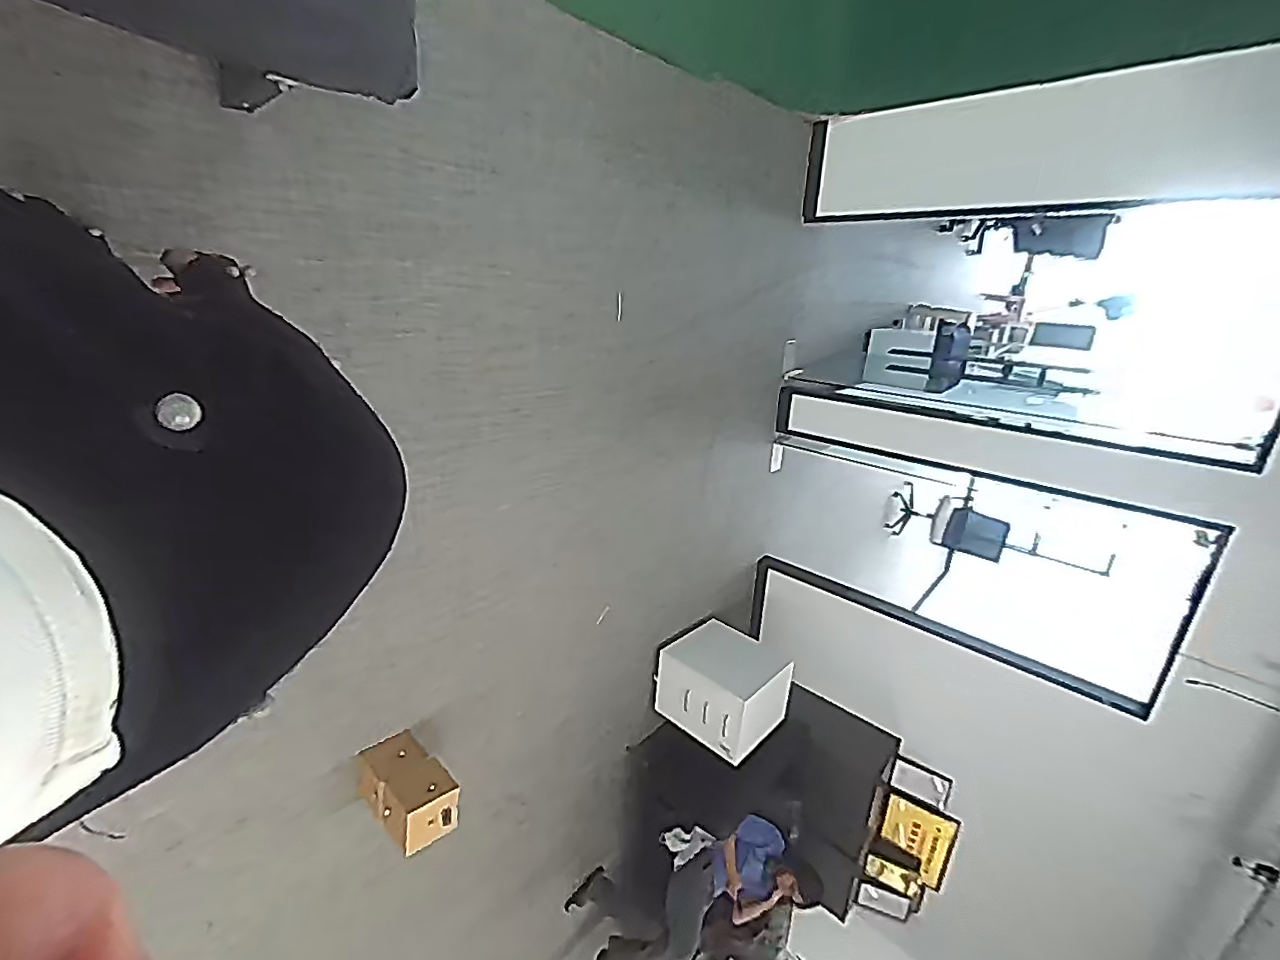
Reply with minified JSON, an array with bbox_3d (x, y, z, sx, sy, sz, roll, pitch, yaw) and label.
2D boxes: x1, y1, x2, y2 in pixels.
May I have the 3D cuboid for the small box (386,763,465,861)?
[{"bbox_3d":[-0.690,1.054,1.736,0.179,0.176,0.168,-8,111,-48],"label":"small box"}]

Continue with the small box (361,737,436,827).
[{"bbox_3d":[-0.818,1.011,1.831,0.179,0.176,0.168,-10,113,-48],"label":"small box"}]
